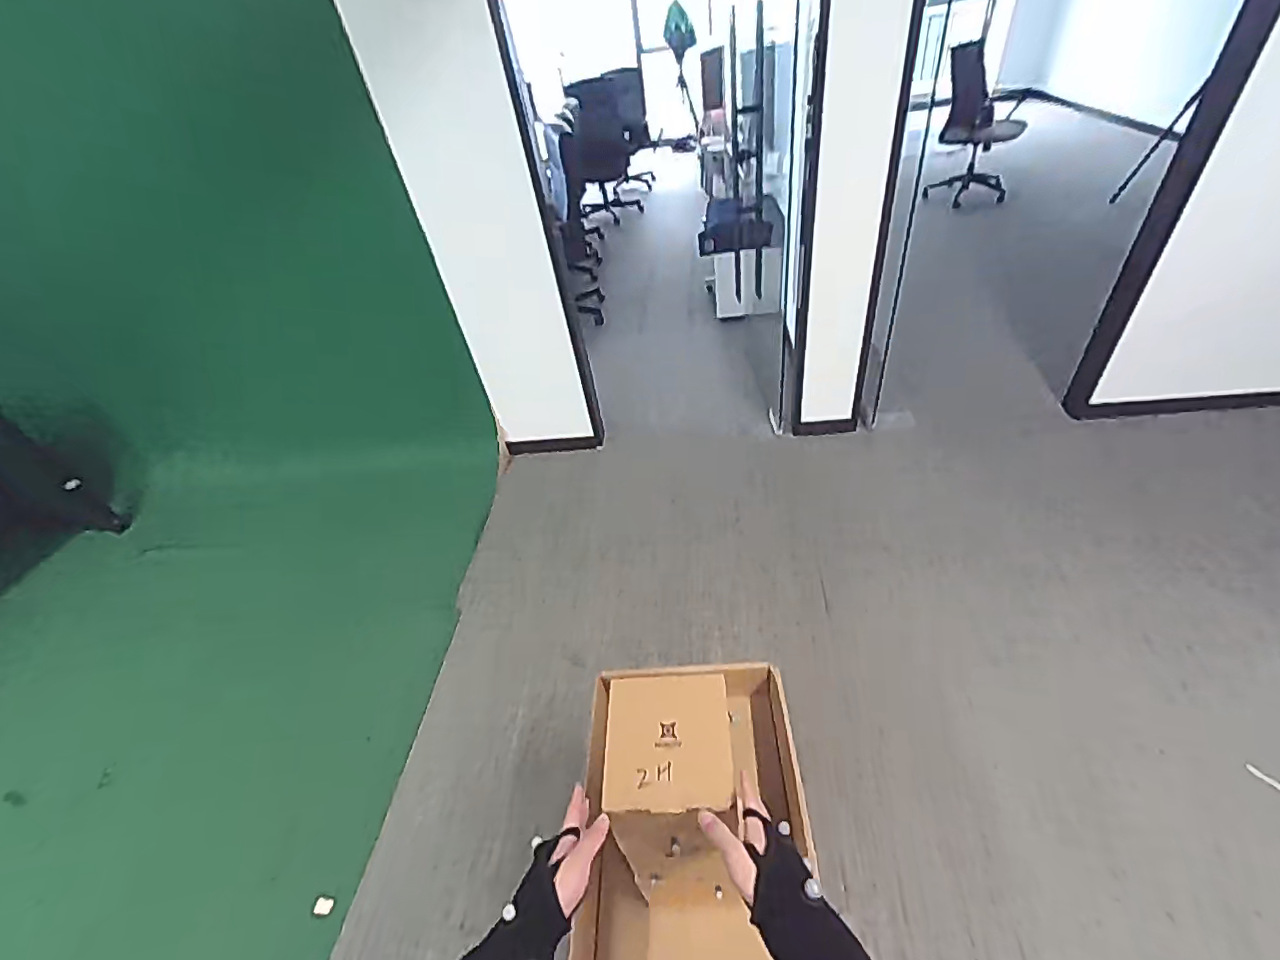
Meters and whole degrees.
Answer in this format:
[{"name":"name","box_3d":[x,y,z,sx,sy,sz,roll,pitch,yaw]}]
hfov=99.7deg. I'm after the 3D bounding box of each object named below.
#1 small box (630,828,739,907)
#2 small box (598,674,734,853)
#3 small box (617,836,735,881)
[{"name":"small box","box_3d":[0.082,0.645,0.970,0.179,0.176,0.168,-4,40,6]},{"name":"small box","box_3d":[0.042,0.395,0.759,0.168,0.176,0.179,-4,41,6]},{"name":"small box","box_3d":[0.064,0.518,0.867,0.168,0.176,0.179,-3,40,7]}]
